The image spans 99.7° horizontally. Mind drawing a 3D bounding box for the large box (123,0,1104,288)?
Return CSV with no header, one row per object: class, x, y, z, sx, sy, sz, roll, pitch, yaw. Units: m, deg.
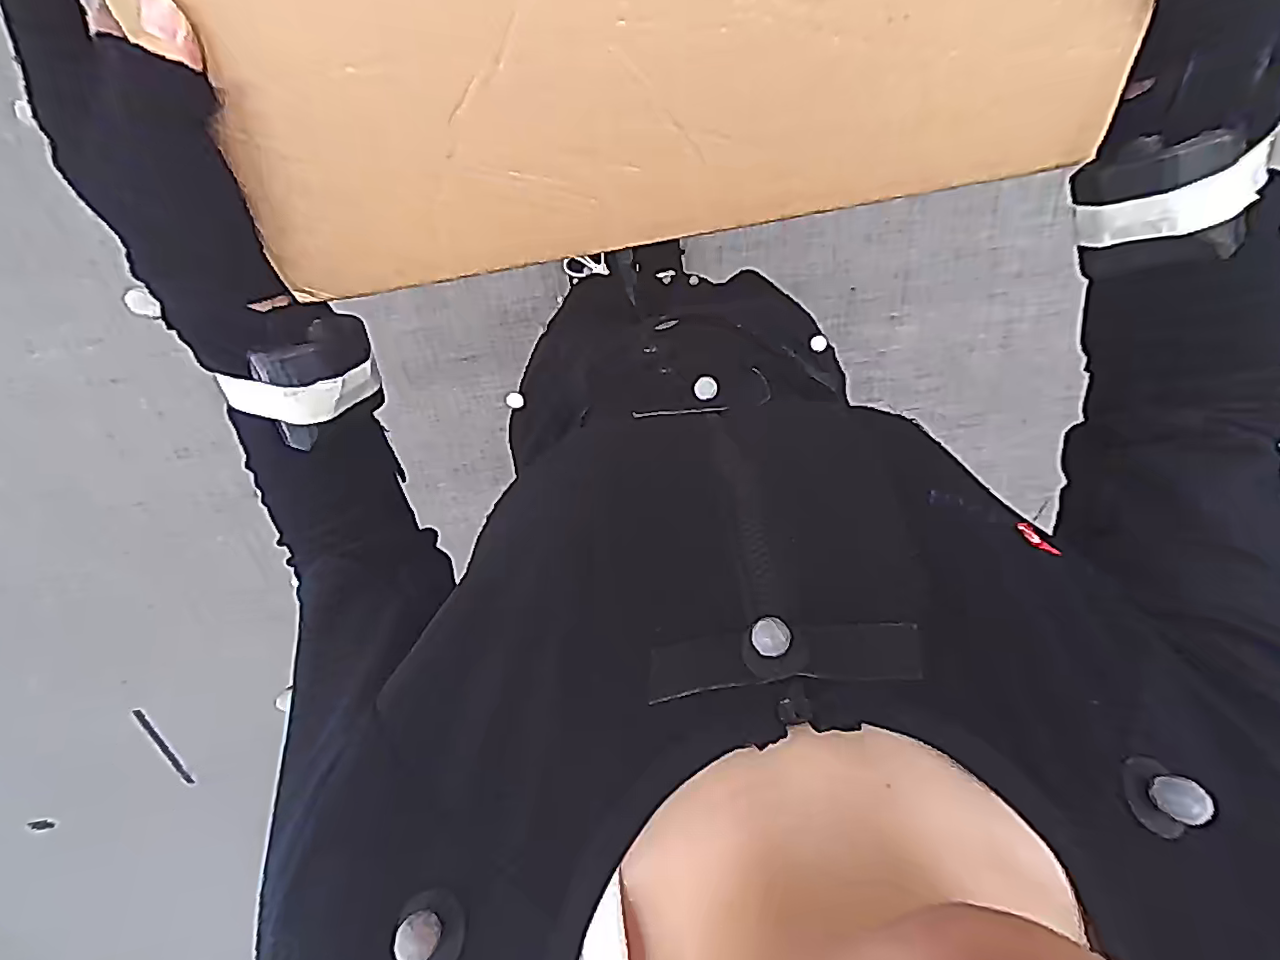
large box,-0.018,-0.346,0.280,0.408,0.320,0.320,-9,134,1
